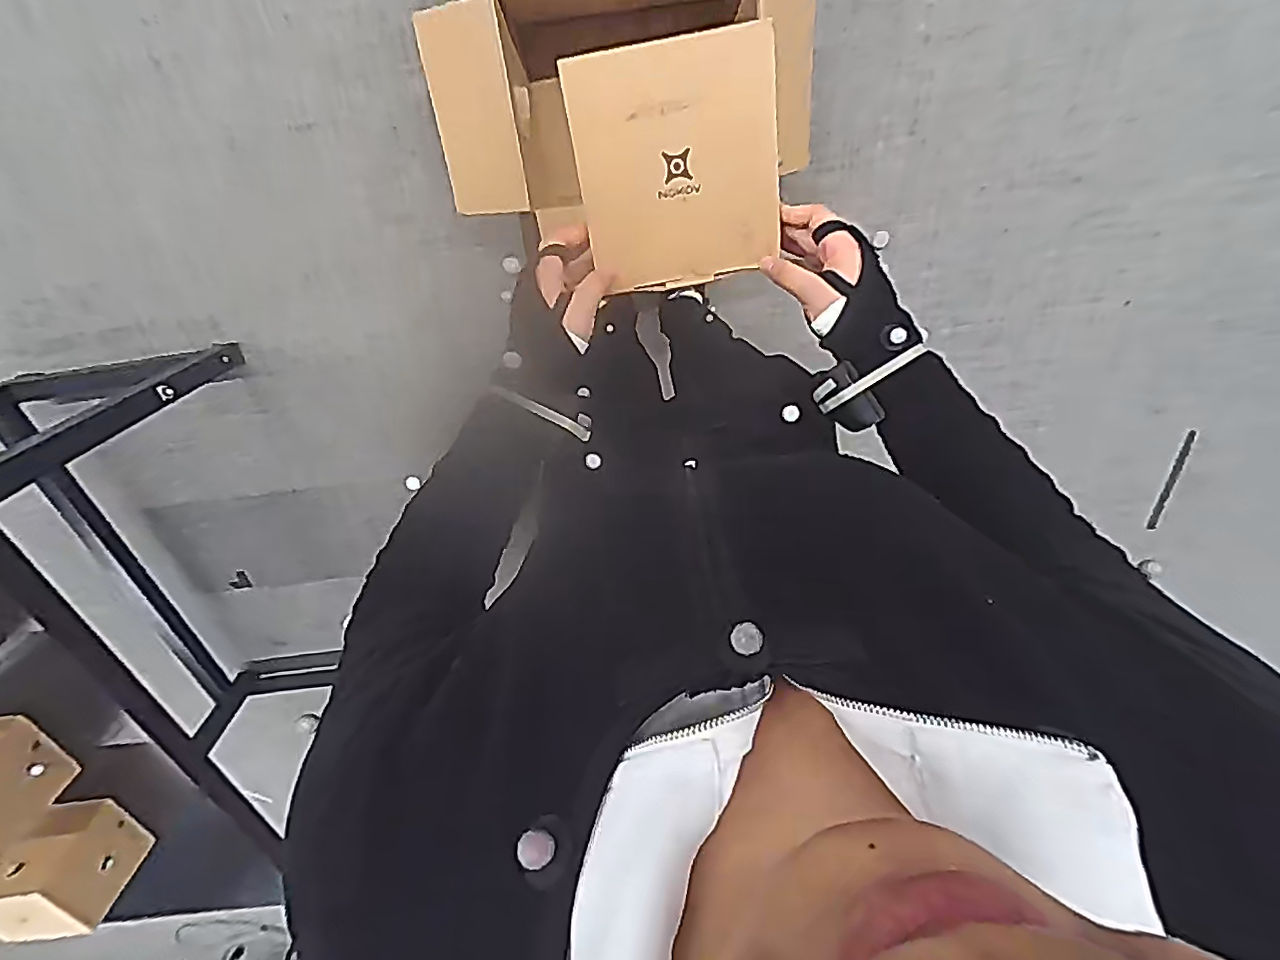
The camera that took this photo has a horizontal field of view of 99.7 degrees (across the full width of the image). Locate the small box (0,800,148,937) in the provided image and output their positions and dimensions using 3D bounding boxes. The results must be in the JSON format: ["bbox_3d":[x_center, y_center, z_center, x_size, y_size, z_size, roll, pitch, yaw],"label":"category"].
[{"bbox_3d":[-1.129,0.753,1.058,0.179,0.176,0.168,-6,121,1],"label":"small box"}]

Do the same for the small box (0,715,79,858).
[{"bbox_3d":[-1.148,0.527,0.920,0.179,0.176,0.168,-7,122,1],"label":"small box"}]

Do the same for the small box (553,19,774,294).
[{"bbox_3d":[0.025,-0.293,0.513,0.168,0.176,0.179,-9,118,3],"label":"small box"}]
